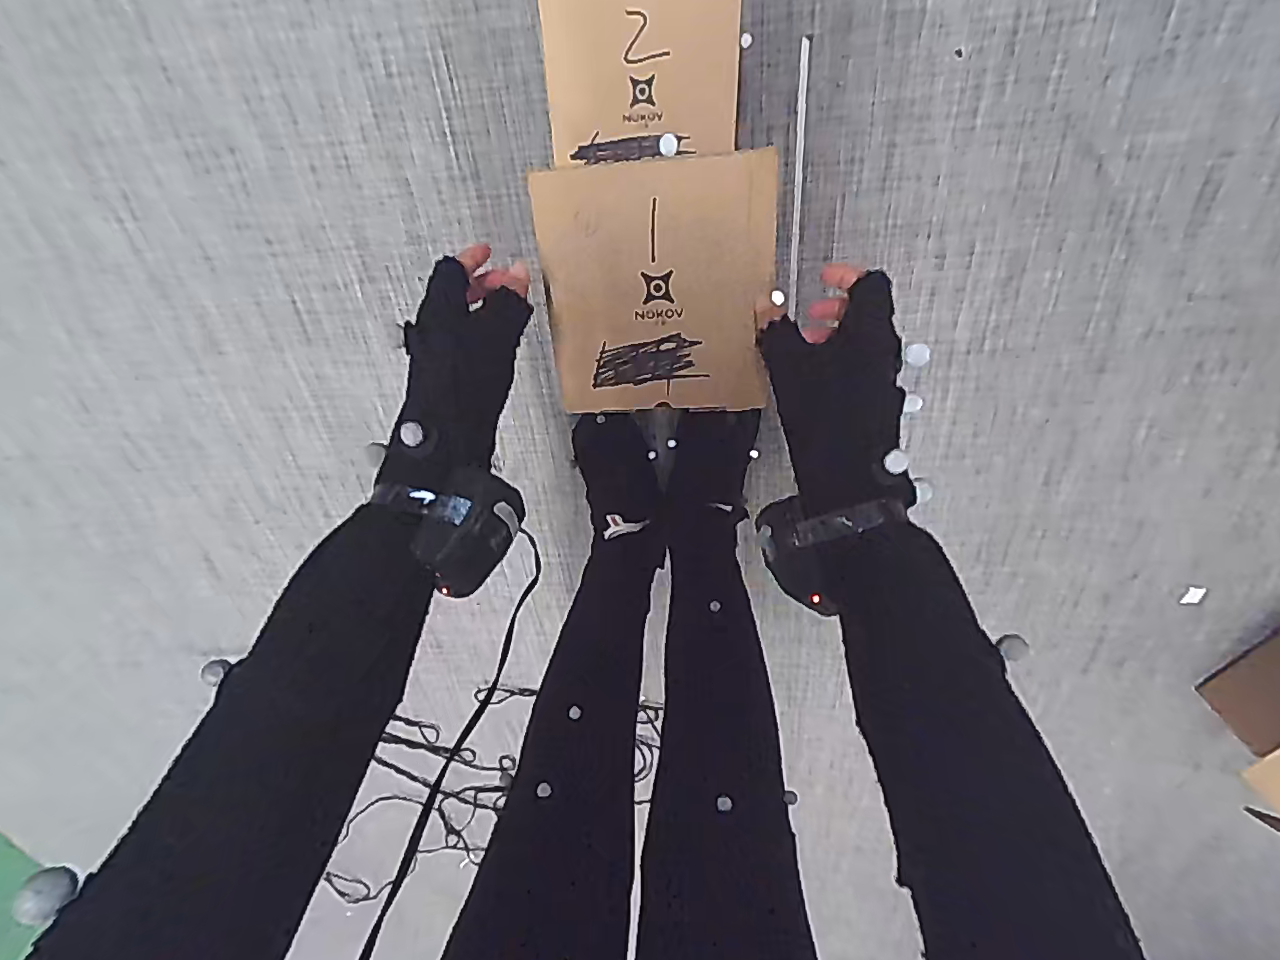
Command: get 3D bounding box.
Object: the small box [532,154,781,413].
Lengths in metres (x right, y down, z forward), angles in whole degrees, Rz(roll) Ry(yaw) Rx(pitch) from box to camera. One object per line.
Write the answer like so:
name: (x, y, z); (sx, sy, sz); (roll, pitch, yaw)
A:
small box: (0.023, -0.171, 0.459); (0.168, 0.176, 0.179); (-1, 120, 7)
